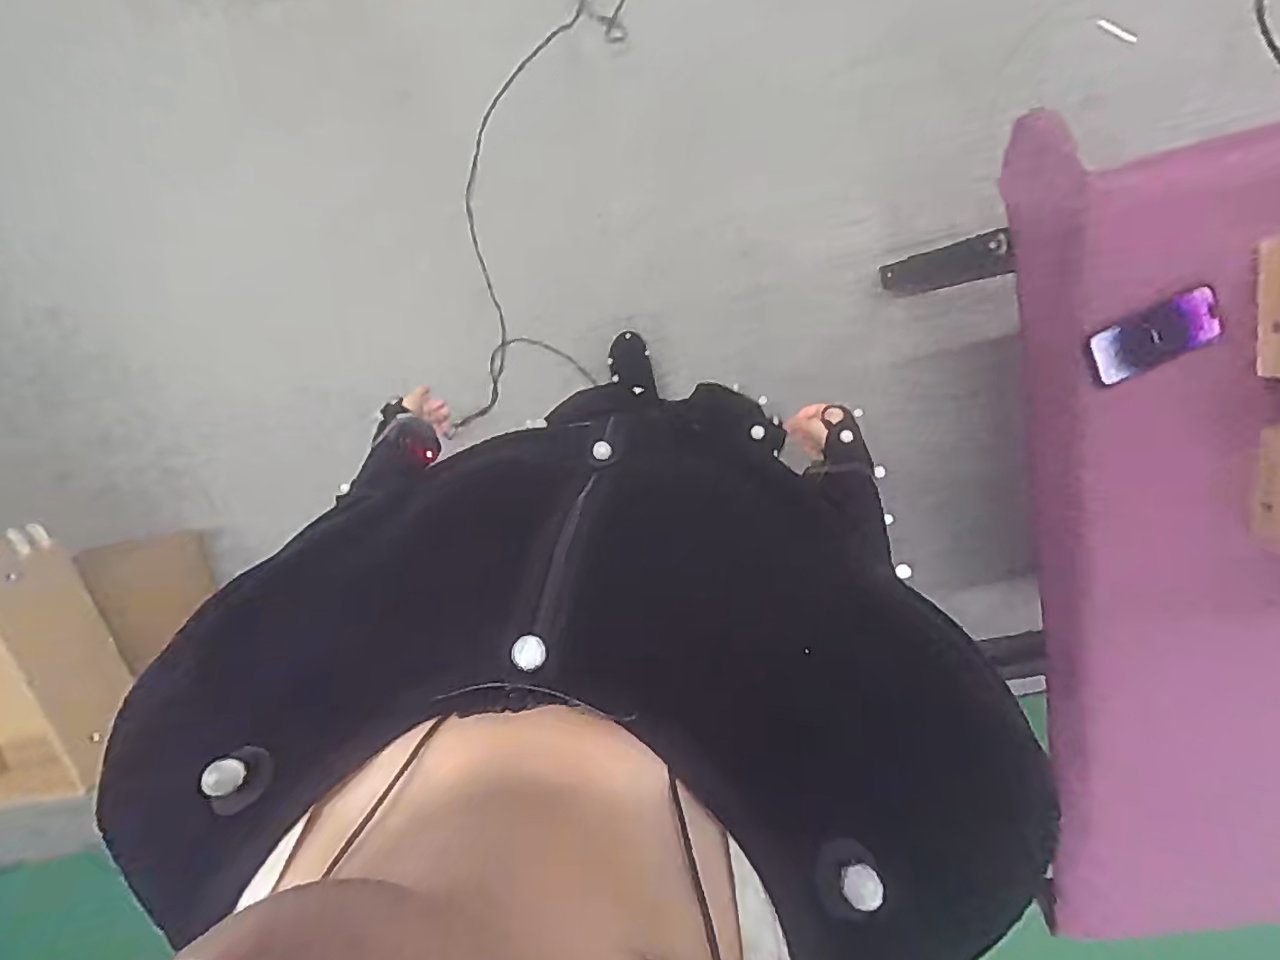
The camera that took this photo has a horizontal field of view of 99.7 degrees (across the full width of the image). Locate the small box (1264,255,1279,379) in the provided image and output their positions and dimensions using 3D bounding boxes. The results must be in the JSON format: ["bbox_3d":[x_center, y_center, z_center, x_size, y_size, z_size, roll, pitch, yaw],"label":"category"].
[{"bbox_3d":[0.838,-0.200,0.575,0.179,0.176,0.168,-13,103,6],"label":"small box"}]
